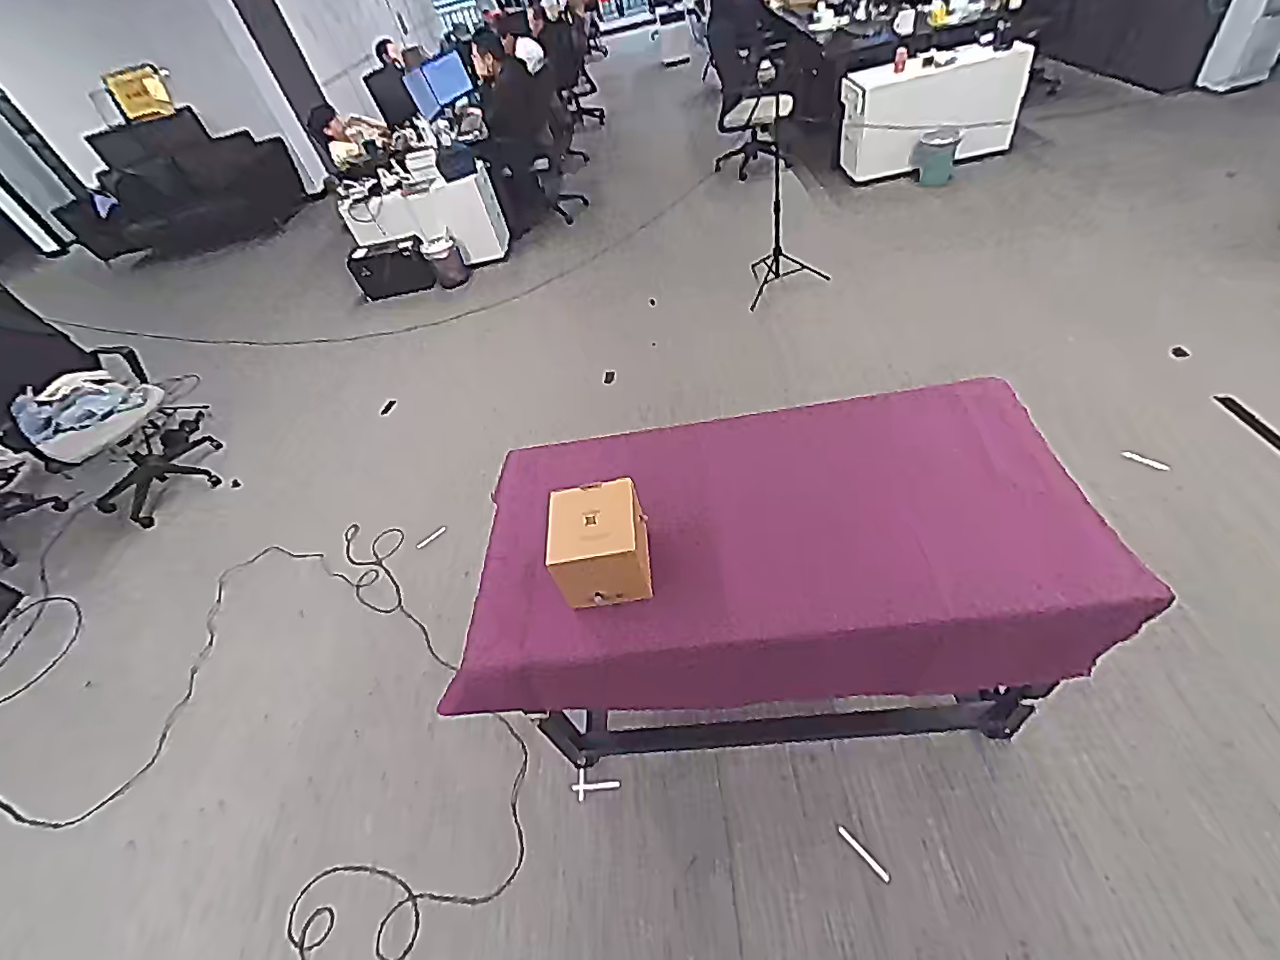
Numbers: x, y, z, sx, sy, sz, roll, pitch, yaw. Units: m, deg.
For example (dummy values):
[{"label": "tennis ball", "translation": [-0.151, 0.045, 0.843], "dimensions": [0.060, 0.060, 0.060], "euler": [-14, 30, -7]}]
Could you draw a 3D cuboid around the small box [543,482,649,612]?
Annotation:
[{"label": "small box", "translation": [-0.080, 0.132, 1.057], "dimensions": [0.168, 0.176, 0.179], "euler": [-10, 46, 6]}]
